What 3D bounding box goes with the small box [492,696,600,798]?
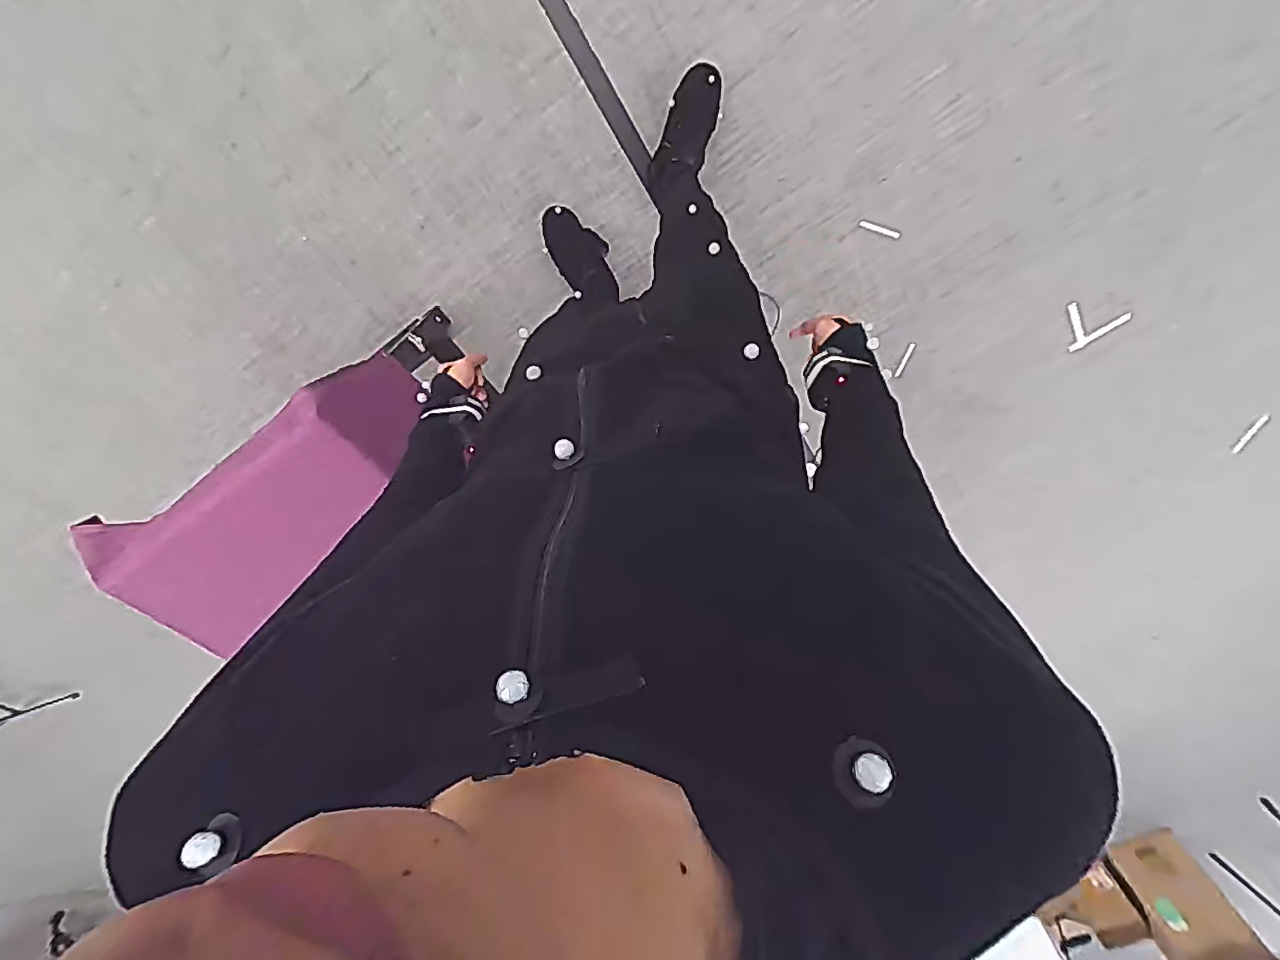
[{"bbox_3d":[-0.206,0.628,1.232,0.168,0.176,0.179,-41,116,20],"label":"small box"}]
